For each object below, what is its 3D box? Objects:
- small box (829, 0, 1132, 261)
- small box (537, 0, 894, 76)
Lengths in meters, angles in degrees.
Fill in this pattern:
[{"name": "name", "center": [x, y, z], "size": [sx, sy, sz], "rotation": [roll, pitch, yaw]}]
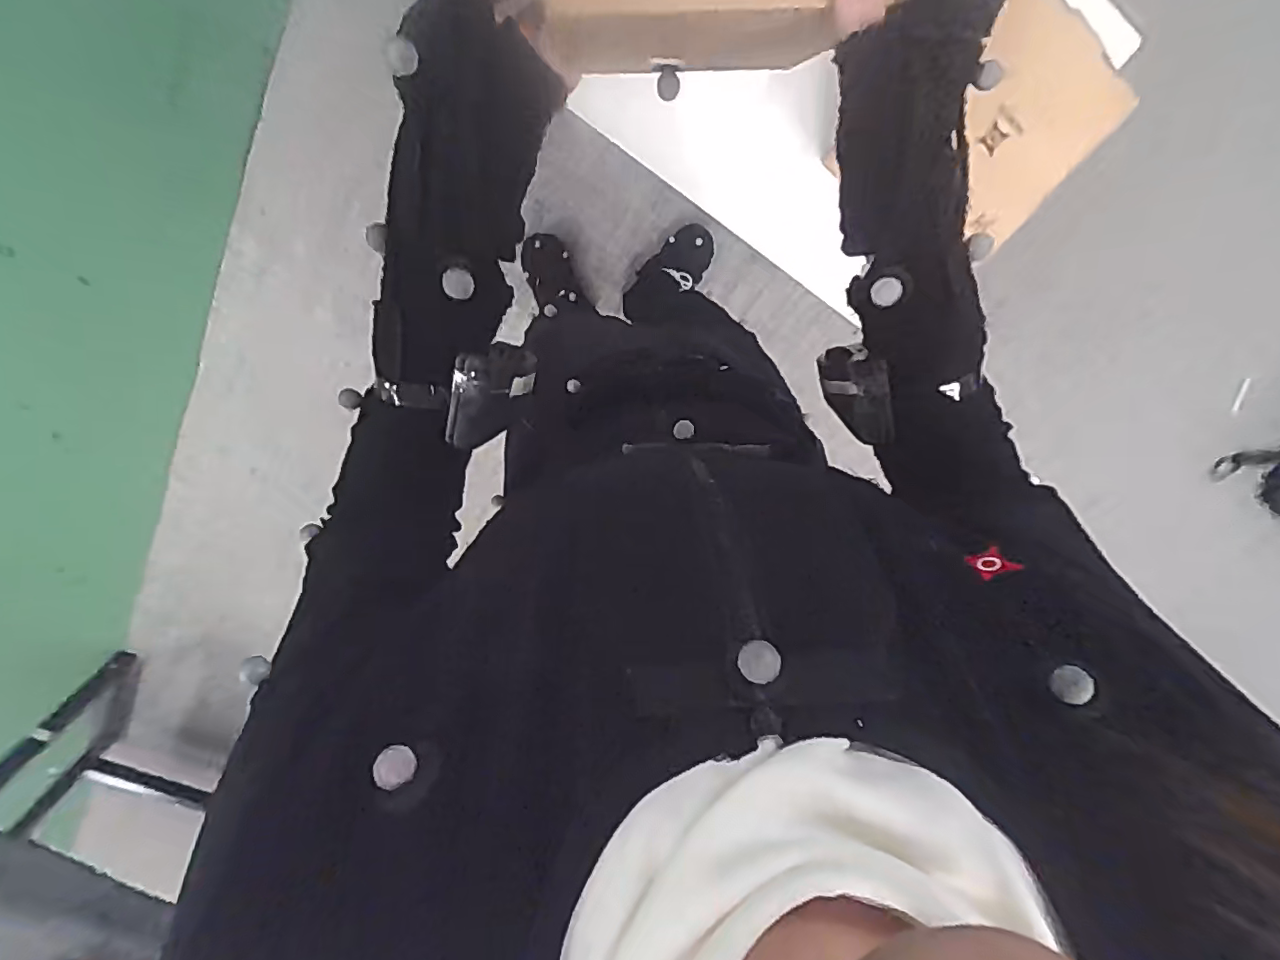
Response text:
[{"name": "small box", "center": [0.331, -0.364, 0.567], "size": [0.168, 0.176, 0.179], "rotation": [34, 114, -16]}, {"name": "small box", "center": [0.024, -0.320, 0.262], "size": [0.168, 0.176, 0.179], "rotation": [-6, 121, -1]}]
